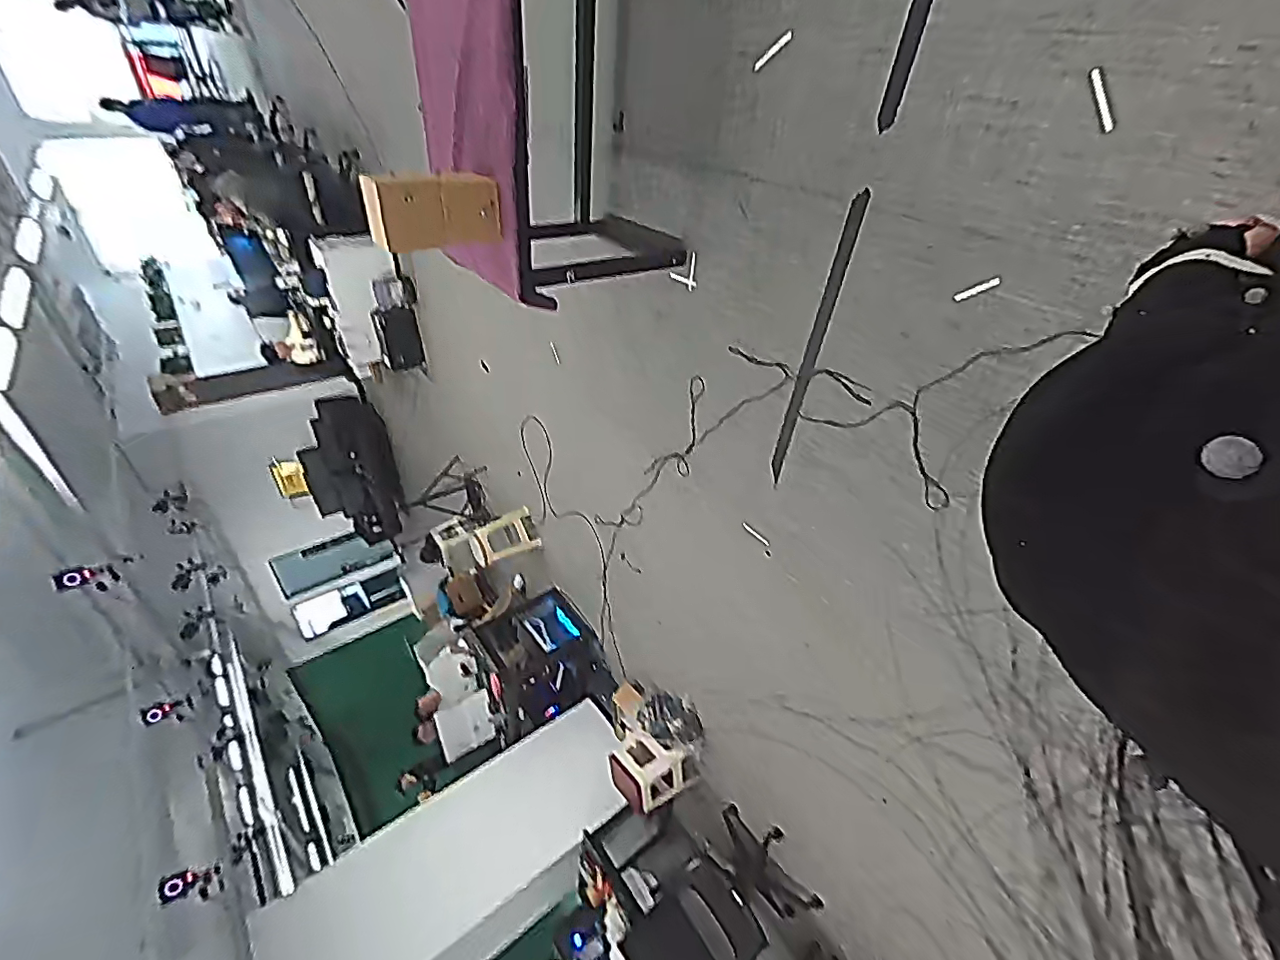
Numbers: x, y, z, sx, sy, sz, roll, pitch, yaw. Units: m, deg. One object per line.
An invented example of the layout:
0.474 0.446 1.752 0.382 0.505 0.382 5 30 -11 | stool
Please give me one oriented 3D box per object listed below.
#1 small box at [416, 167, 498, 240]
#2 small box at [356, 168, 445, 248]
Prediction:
-0.539 -0.822 1.600 0.179 0.176 0.168 38 139 38 | small box
-0.667 -0.768 1.516 0.168 0.176 0.179 39 139 40 | small box
